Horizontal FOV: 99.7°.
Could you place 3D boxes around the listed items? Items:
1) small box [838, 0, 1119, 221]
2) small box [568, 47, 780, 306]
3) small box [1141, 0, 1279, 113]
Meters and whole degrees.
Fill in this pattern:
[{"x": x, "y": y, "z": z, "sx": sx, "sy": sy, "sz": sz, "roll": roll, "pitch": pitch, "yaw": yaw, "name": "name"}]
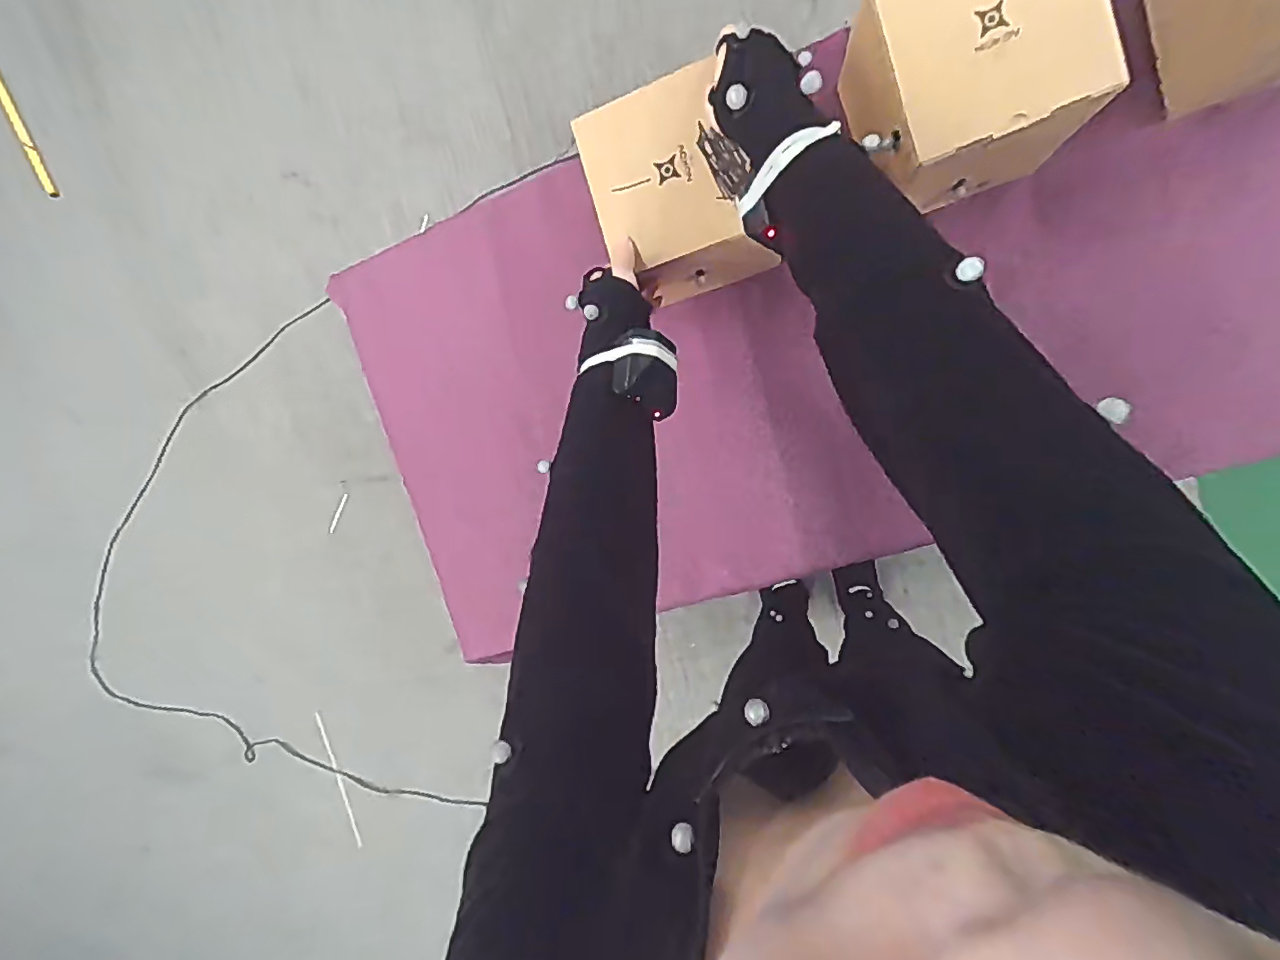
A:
[{"x": 0.308, "y": -0.393, "z": 0.534, "sx": 0.168, "sy": 0.176, "sz": 0.179, "roll": -17, "pitch": 94, "yaw": 14, "name": "small box"}, {"x": 0.047, "y": -0.311, "z": 0.599, "sx": 0.179, "sy": 0.176, "sz": 0.168, "roll": -15, "pitch": 93, "yaw": 15, "name": "small box"}, {"x": 0.578, "y": -0.466, "z": 0.459, "sx": 0.168, "sy": 0.176, "sz": 0.179, "roll": -15, "pitch": 96, "yaw": 14, "name": "small box"}]
